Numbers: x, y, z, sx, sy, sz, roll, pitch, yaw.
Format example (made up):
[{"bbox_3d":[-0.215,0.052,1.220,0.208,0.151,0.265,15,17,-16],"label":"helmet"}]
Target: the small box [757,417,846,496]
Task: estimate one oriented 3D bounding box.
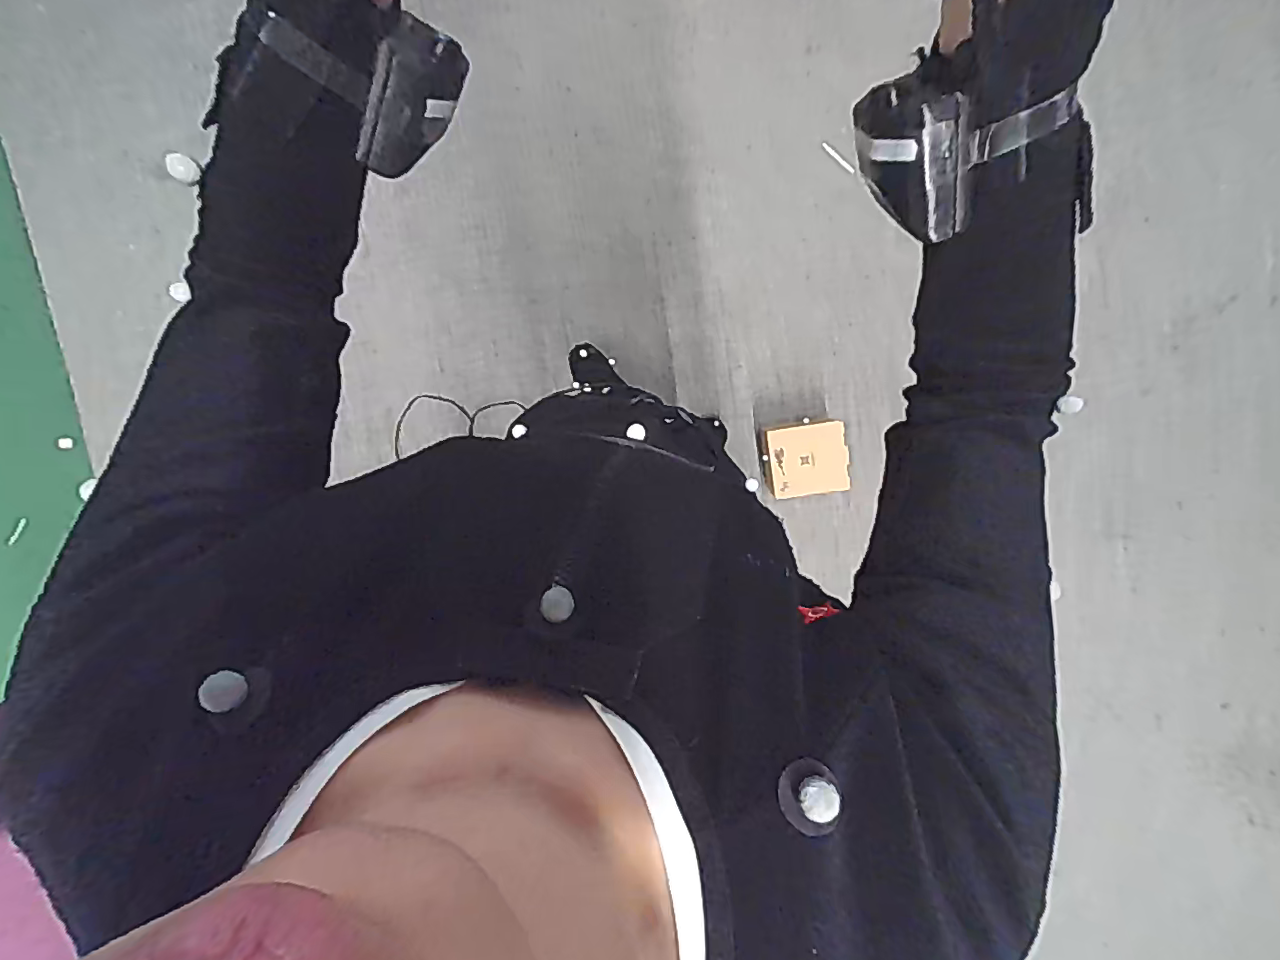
[{"bbox_3d":[0.393,-0.063,1.337,0.179,0.176,0.168,-7,97,7],"label":"small box"}]
